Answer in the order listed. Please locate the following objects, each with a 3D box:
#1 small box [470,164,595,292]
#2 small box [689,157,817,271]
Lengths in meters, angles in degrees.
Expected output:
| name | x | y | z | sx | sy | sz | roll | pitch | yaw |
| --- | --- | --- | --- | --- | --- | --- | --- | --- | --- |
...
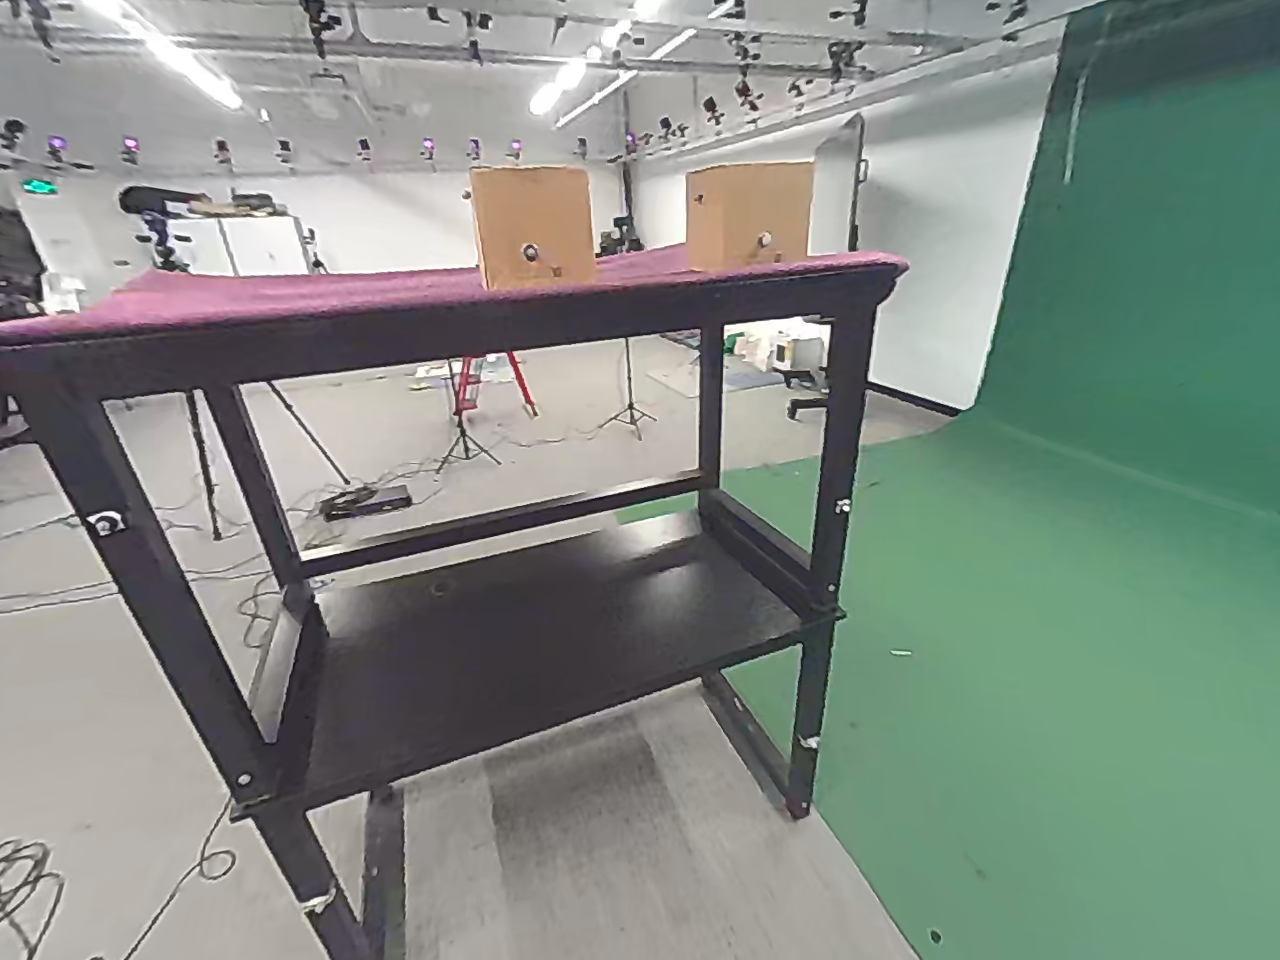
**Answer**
| name | x | y | z | sx | sy | sz | roll | pitch | yaw |
| --- | --- | --- | --- | --- | --- | --- | --- | --- | --- |
| small box | -0.172 | -0.395 | 0.859 | 0.168 | 0.176 | 0.179 | -10 | 25 | -14 |
| small box | 0.191 | -0.470 | 0.967 | 0.168 | 0.176 | 0.179 | -10 | 27 | -13 |
